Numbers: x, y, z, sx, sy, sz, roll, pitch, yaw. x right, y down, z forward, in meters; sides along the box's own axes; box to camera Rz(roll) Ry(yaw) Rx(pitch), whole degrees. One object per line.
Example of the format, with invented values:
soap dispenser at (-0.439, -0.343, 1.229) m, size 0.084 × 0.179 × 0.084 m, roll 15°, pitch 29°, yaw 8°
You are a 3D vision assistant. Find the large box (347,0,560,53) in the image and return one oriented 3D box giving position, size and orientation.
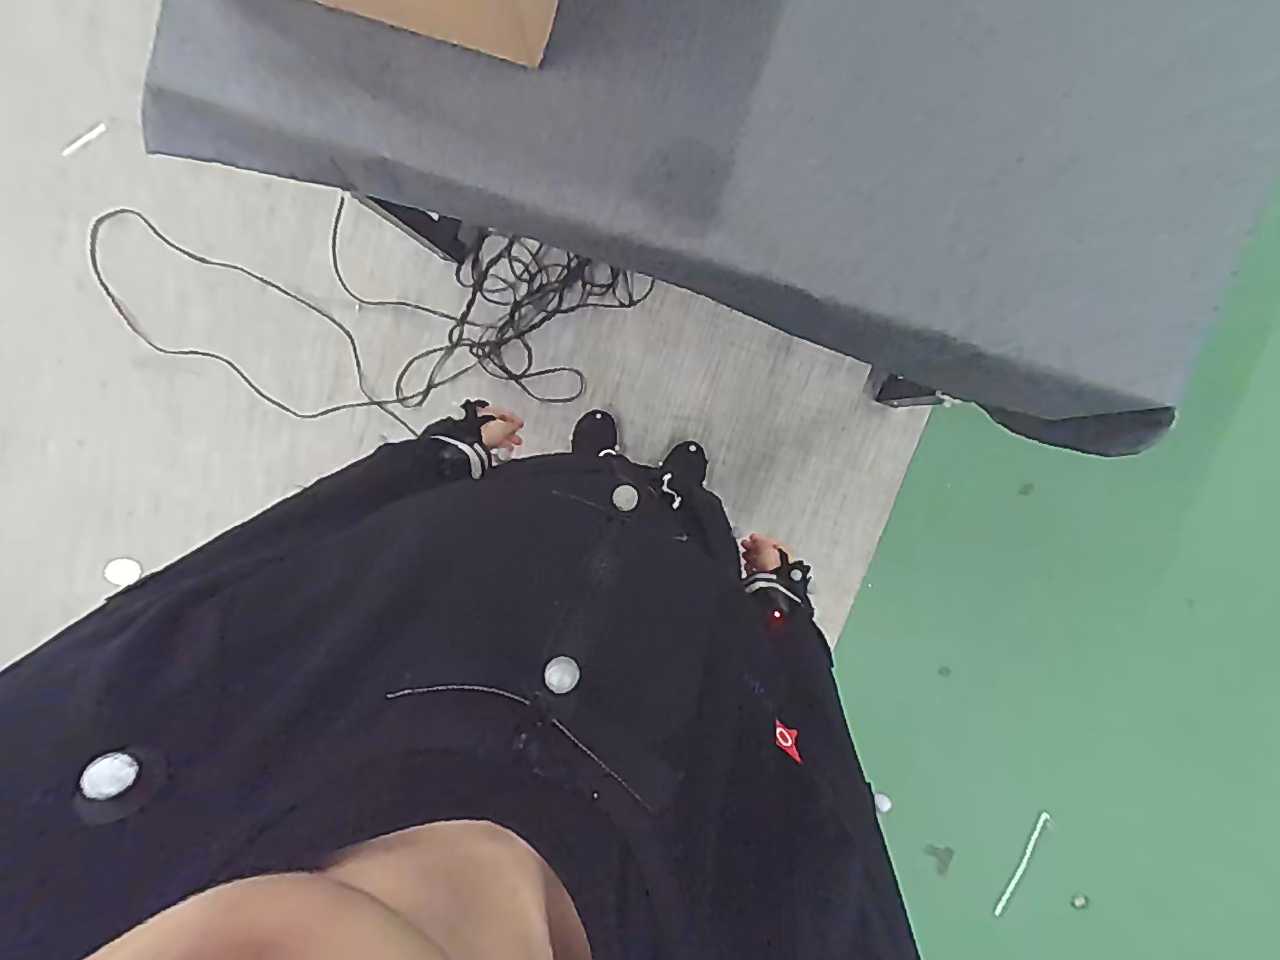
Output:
large box at (-0.255, -0.641, 0.425) m, size 0.408 × 0.320 × 0.320 m, roll 17°, pitch 98°, yaw 0°
